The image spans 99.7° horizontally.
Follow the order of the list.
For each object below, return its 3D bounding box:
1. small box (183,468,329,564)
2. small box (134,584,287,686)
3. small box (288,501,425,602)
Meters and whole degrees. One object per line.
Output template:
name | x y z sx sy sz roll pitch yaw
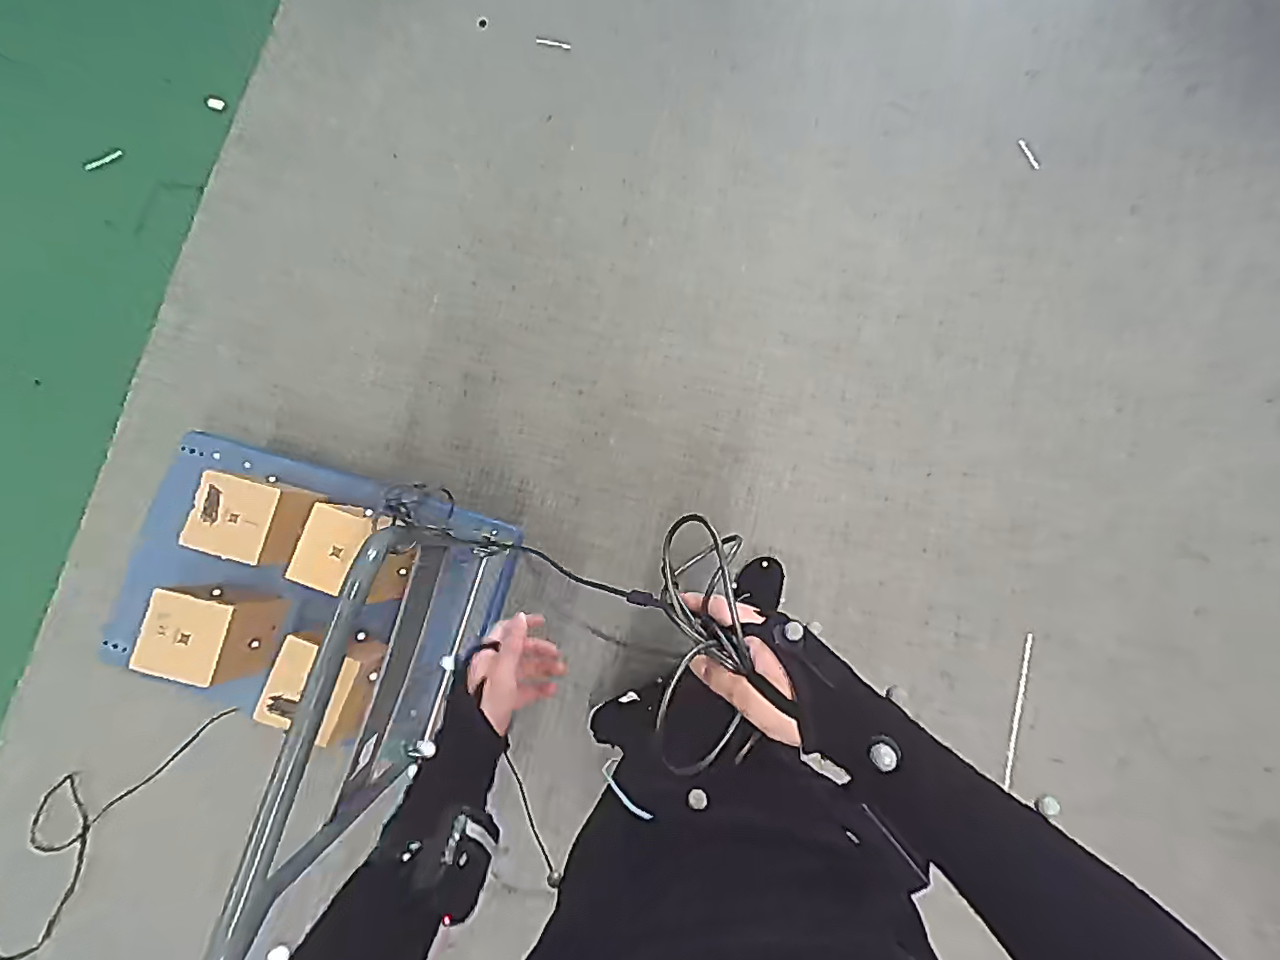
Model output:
small box | -0.841 0.083 1.200 0.179 0.176 0.168 15 84 3
small box | -0.917 0.326 1.173 0.179 0.176 0.168 13 83 3
small box | -0.611 0.157 1.186 0.179 0.176 0.168 18 84 3
